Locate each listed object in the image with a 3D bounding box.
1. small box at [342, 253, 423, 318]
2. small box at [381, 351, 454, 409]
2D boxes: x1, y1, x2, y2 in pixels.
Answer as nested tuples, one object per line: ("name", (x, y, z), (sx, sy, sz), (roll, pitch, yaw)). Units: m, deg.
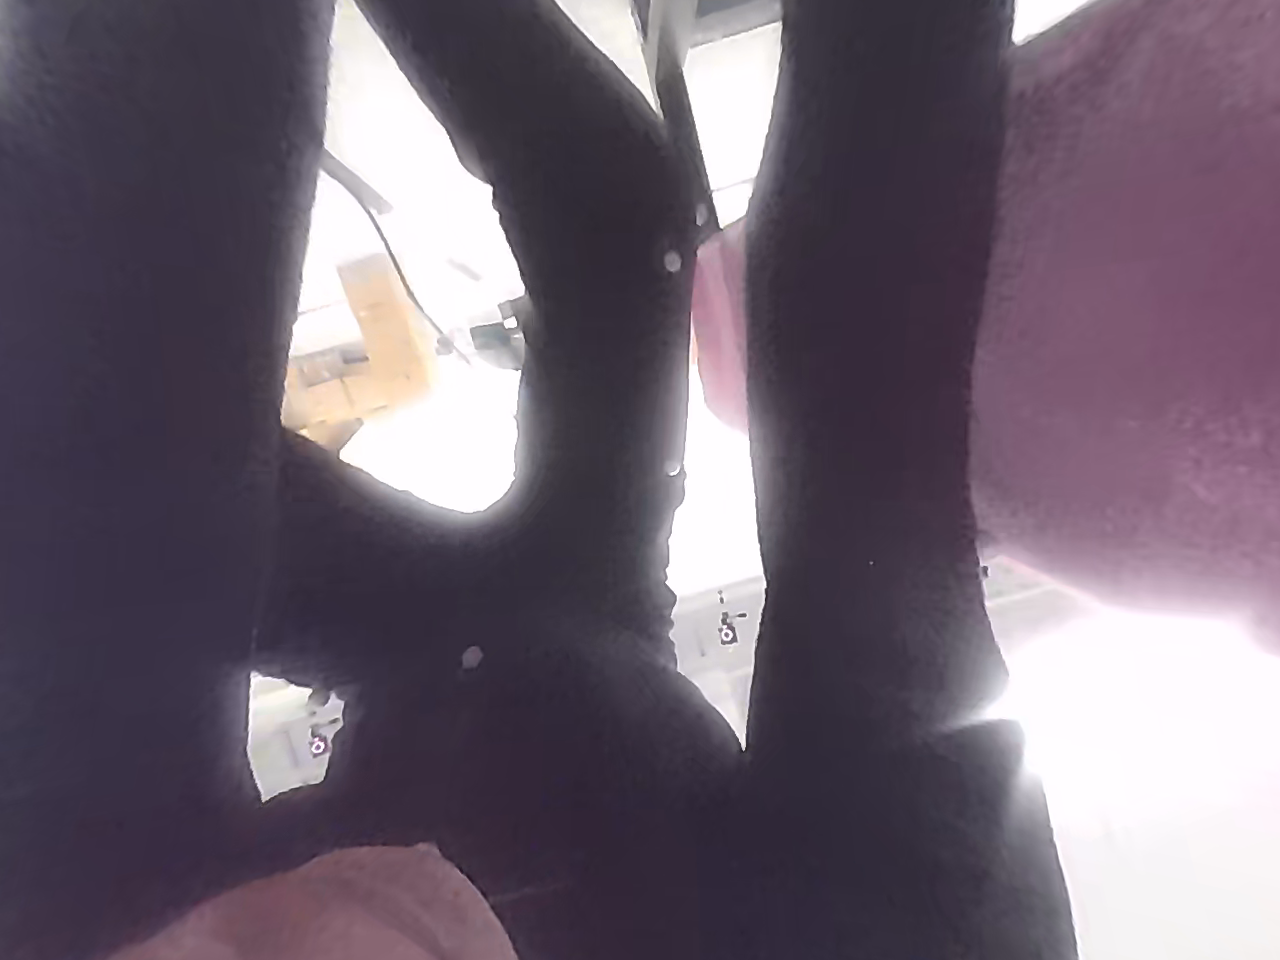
("small box", (-0.882, -0.667, 1.860), (0.168, 0.176, 0.179), (-15, -169, 4))
("small box", (-0.791, -0.360, 1.931), (0.168, 0.176, 0.179), (-15, -169, 1))
